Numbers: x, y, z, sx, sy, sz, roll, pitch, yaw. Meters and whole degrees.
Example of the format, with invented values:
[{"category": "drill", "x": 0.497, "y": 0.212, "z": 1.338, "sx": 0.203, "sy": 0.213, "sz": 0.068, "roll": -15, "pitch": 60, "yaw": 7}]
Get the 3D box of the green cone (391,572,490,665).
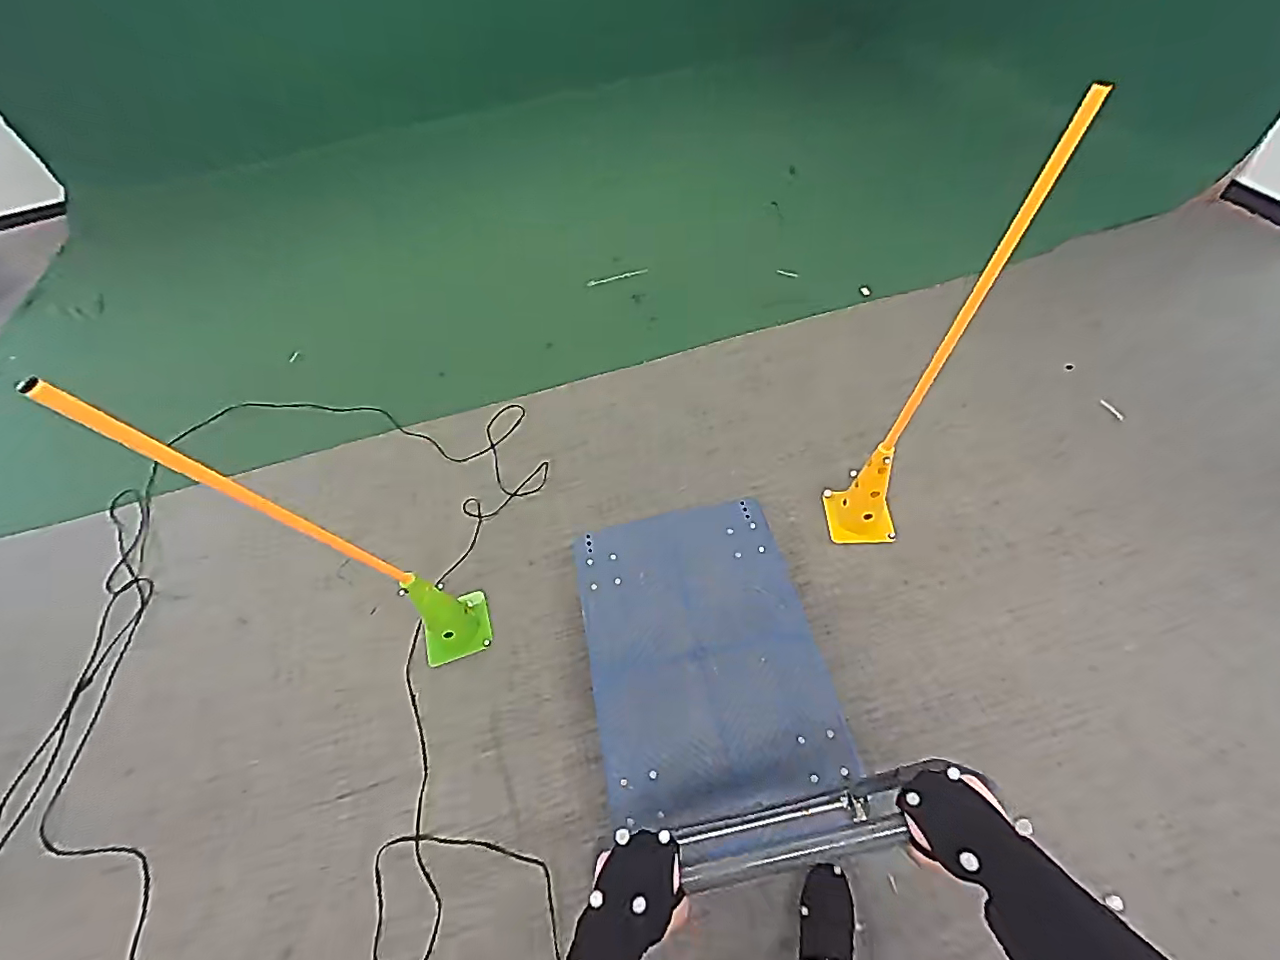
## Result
[{"category": "green cone", "x": -0.596, "y": 0.353, "z": 1.540, "sx": 0.202, "sy": 0.368, "sz": 0.200, "roll": -20, "pitch": 54, "yaw": -5}]
